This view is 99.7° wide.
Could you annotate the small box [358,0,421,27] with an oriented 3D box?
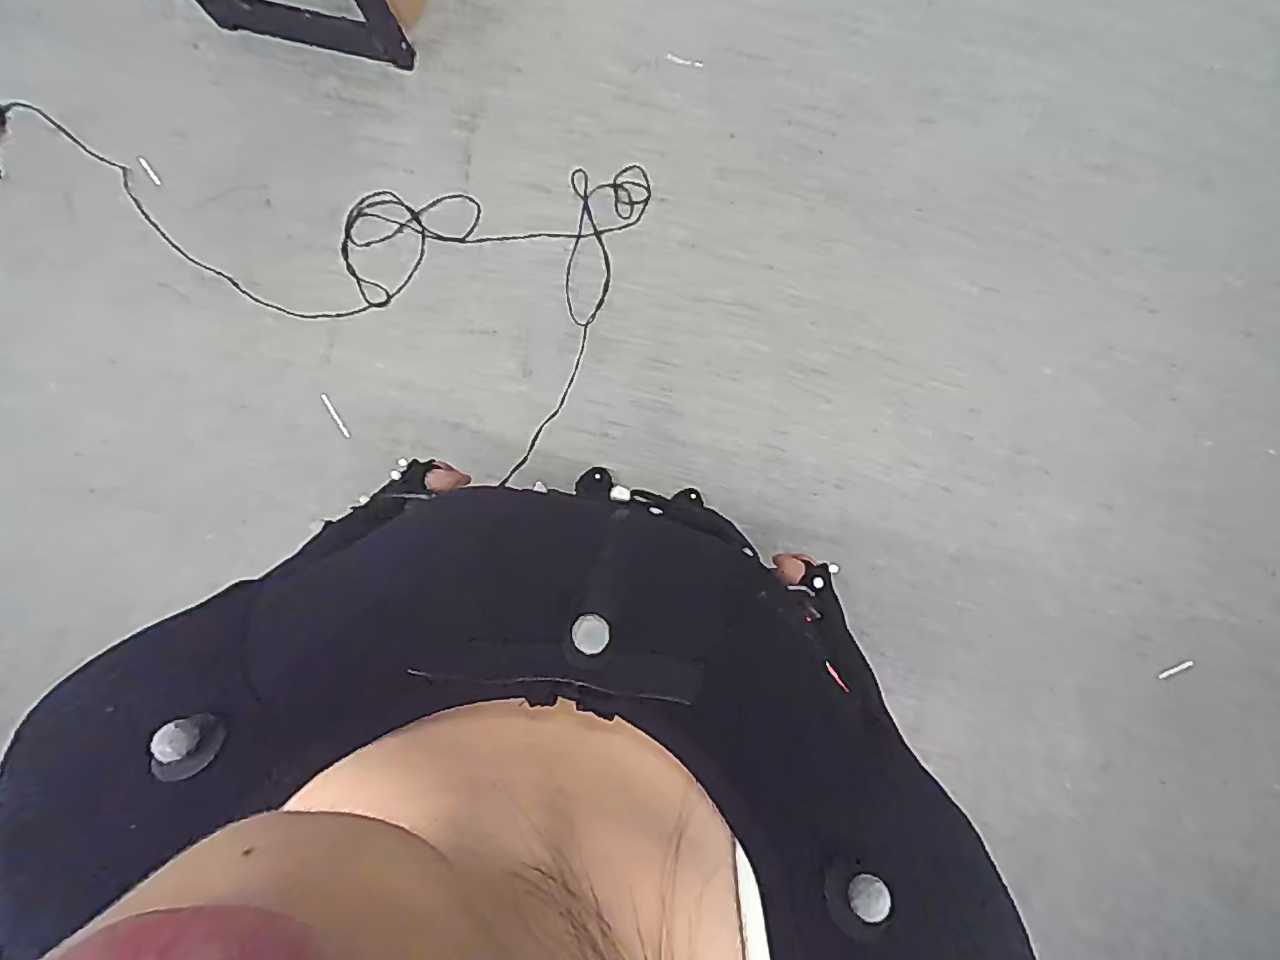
[{"bbox_3d":[-0.692,-1.380,1.444,0.168,0.176,0.179,27,91,1],"label":"small box"}]
